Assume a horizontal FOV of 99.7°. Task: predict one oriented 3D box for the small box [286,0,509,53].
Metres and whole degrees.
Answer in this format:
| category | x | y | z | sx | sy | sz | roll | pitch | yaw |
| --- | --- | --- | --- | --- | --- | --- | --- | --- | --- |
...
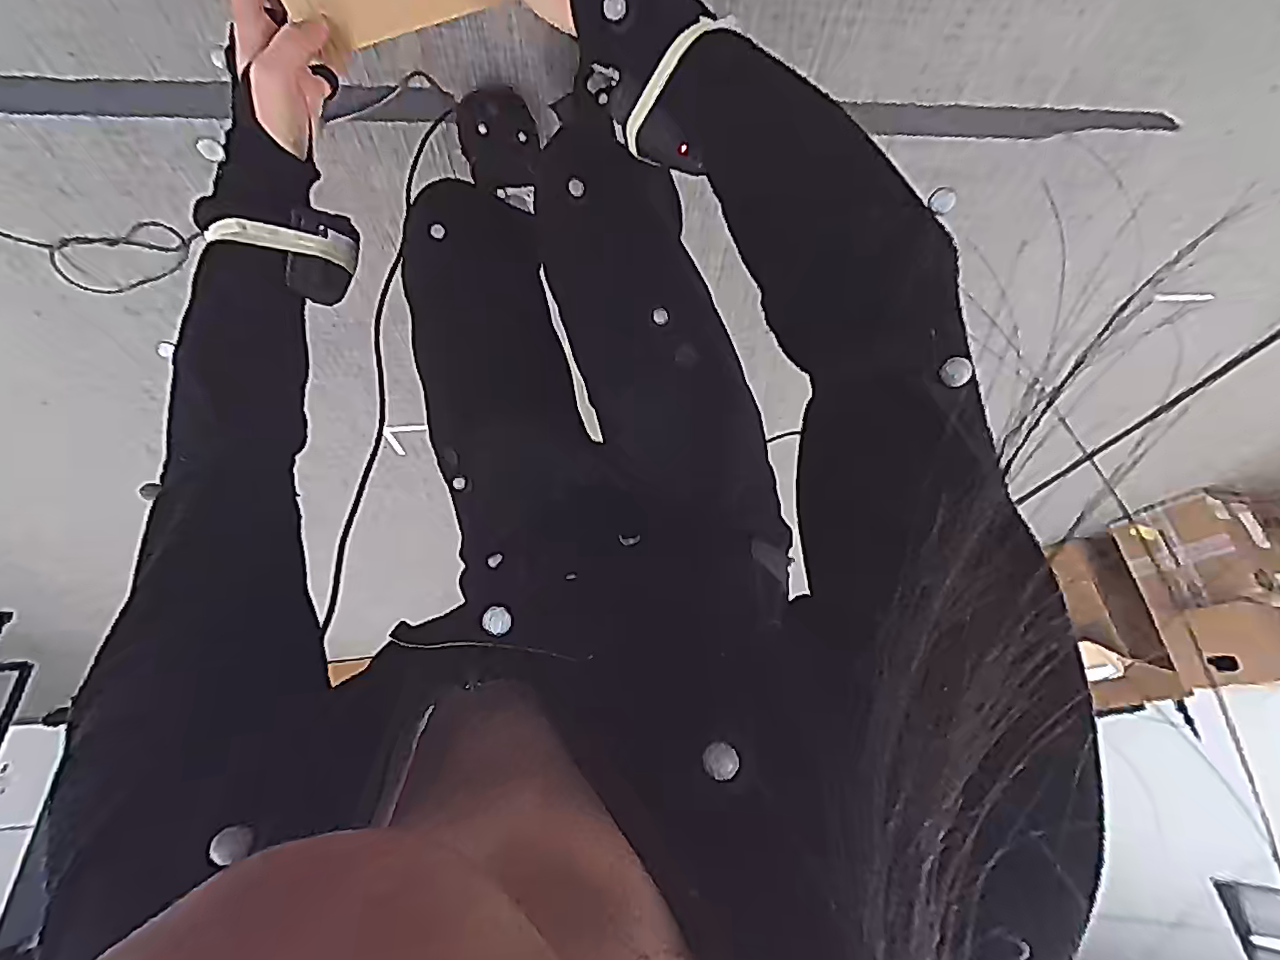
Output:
| category | x | y | z | sx | sy | sz | roll | pitch | yaw |
| --- | --- | --- | --- | --- | --- | --- | --- | --- | --- |
| small box | -0.172 | -0.428 | 0.359 | 0.168 | 0.176 | 0.179 | -11 | 140 | 6 |
